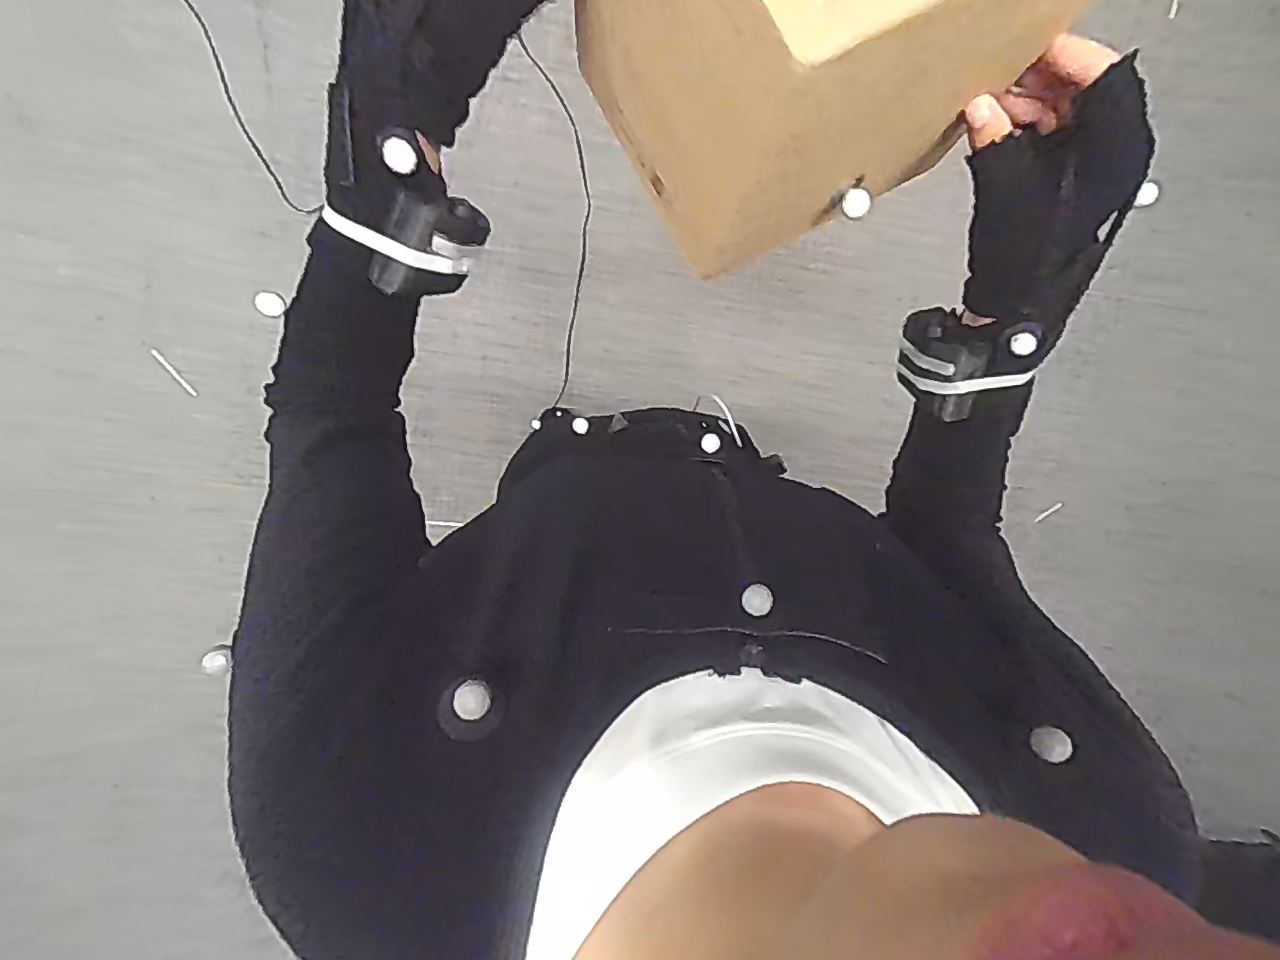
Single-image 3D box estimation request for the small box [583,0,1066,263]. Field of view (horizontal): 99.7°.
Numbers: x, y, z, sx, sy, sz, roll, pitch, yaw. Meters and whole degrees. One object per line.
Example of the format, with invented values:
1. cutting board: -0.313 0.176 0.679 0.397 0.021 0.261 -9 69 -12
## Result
1. small box: 0.078 -0.245 0.268 0.179 0.176 0.168 -27 88 -5
